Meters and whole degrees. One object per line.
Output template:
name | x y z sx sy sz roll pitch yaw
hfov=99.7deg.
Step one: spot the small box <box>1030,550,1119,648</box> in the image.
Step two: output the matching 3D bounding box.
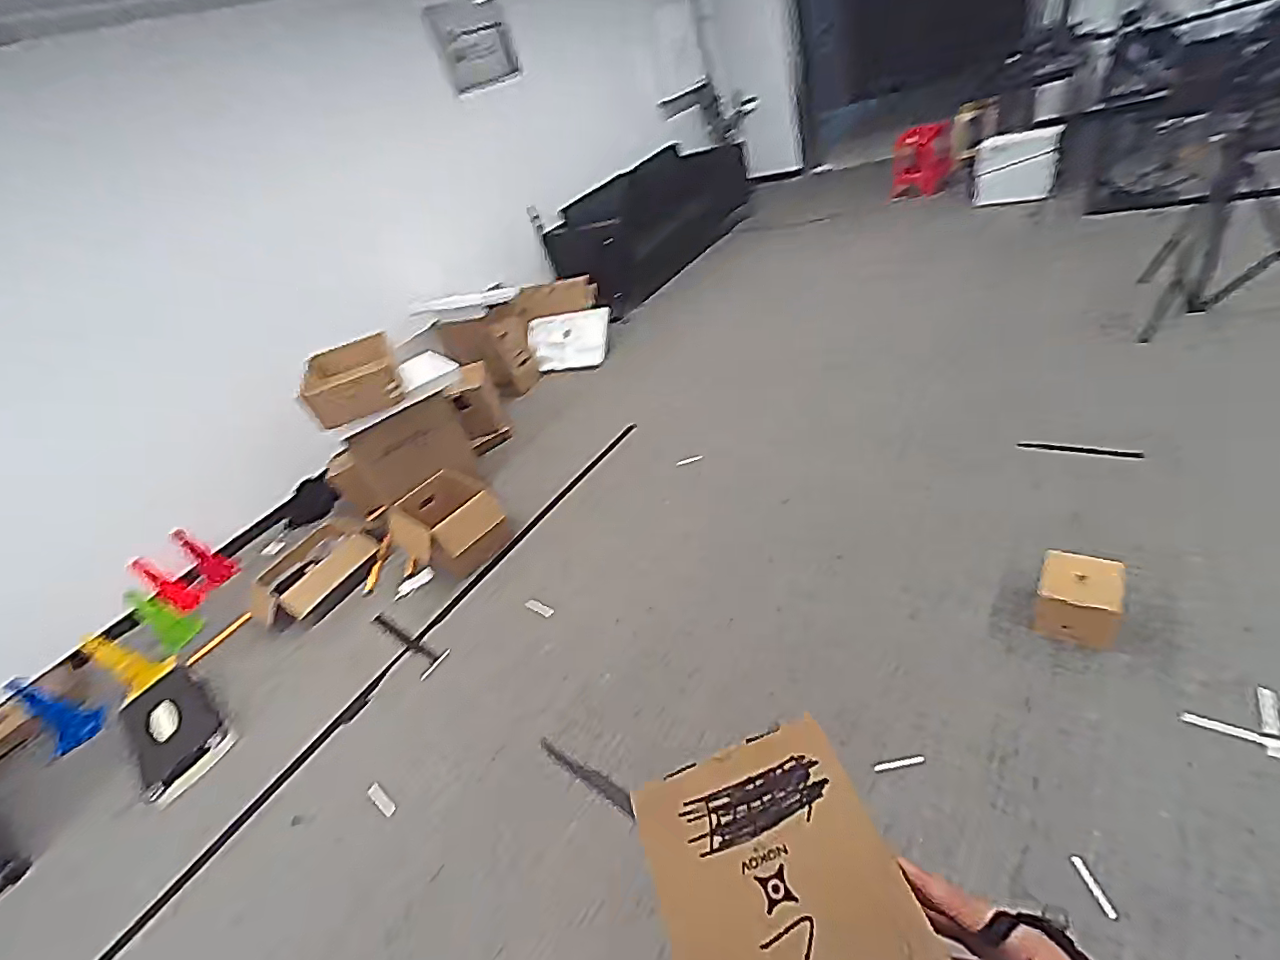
small box | 1.193 0.325 1.491 0.168 0.176 0.179 10 46 36
